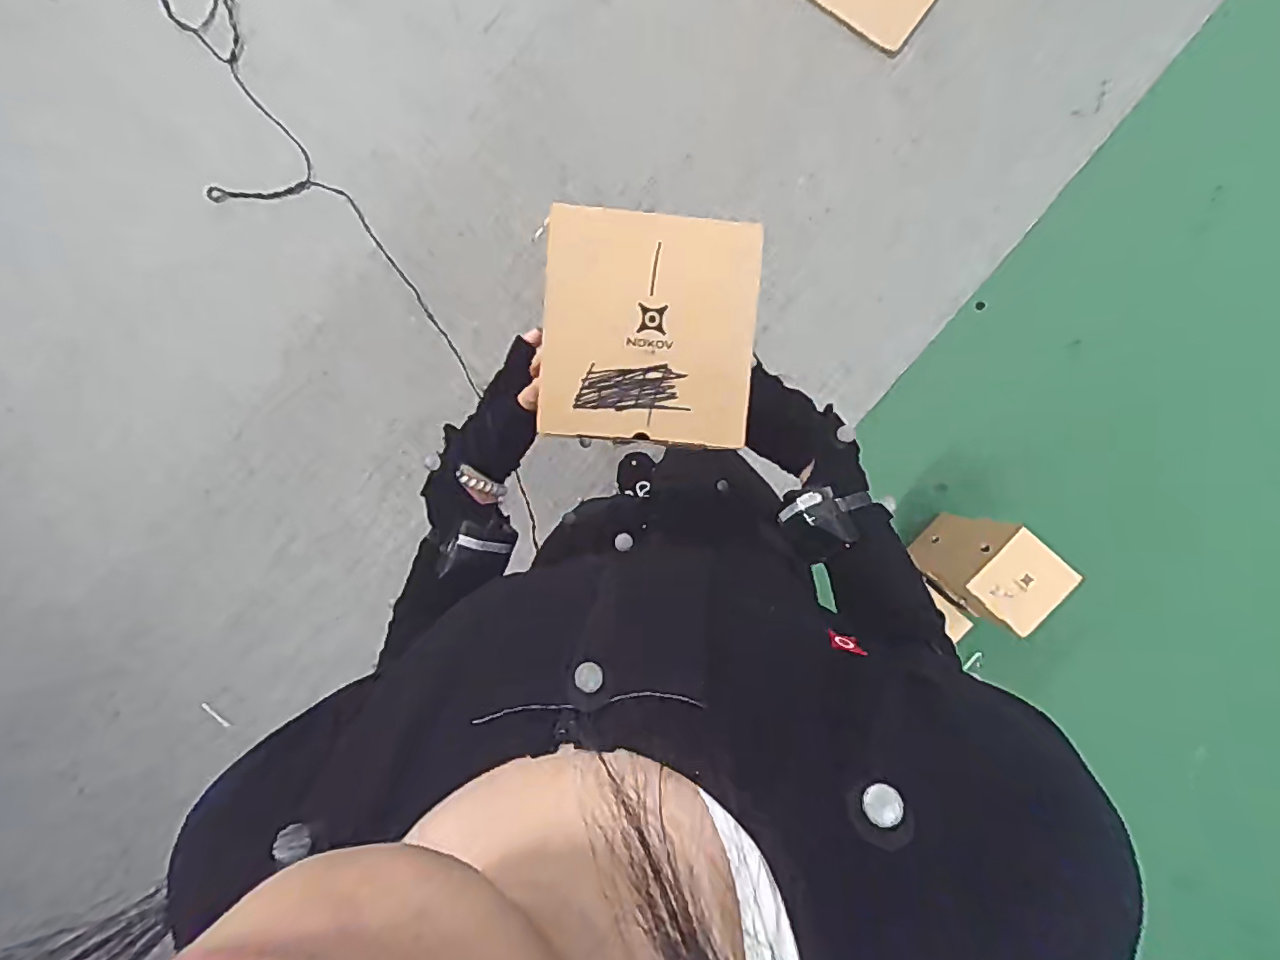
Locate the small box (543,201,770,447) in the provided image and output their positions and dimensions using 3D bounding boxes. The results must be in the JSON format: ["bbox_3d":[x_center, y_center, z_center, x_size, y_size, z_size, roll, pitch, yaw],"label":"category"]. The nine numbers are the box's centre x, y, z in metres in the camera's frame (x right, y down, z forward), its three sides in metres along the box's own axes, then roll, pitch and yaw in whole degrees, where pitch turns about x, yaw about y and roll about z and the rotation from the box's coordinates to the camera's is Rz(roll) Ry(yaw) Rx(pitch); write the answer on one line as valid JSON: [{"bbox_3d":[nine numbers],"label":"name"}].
[{"bbox_3d":[0.008,-0.127,0.499,0.168,0.176,0.179,4,95,-4],"label":"small box"}]

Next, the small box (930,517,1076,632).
[{"bbox_3d":[0.797,0.201,1.210,0.168,0.176,0.179,42,95,0],"label":"small box"}]
